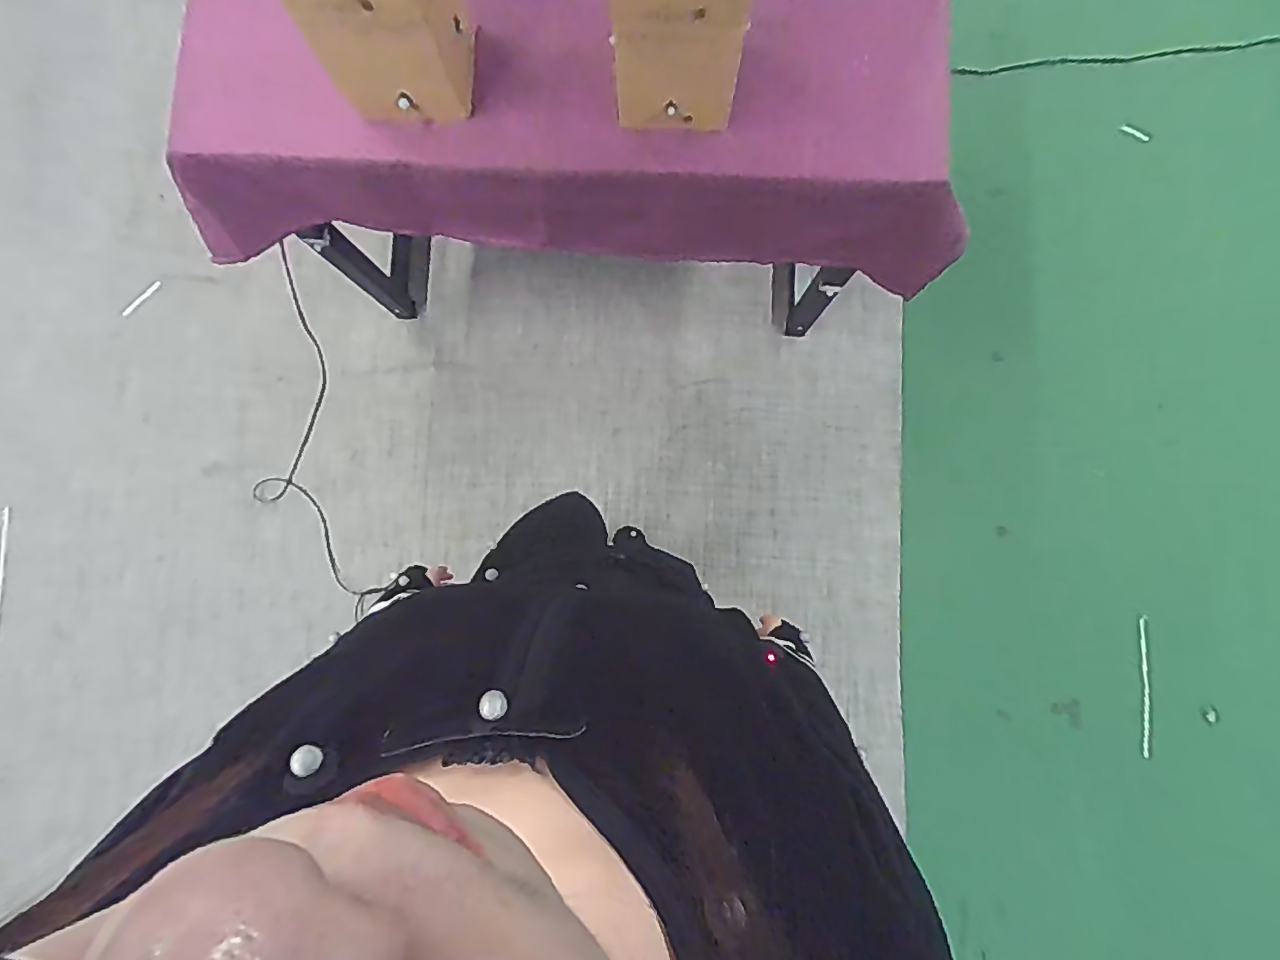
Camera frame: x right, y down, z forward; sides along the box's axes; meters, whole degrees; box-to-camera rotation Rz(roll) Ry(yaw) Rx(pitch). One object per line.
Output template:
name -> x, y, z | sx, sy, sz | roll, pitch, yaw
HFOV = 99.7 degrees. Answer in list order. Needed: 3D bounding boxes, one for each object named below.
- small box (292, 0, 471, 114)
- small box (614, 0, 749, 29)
small box -> -0.348, -0.653, 0.762 | 0.179, 0.176, 0.168 | 1, 85, 0
small box -> 0.053, -0.649, 0.596 | 0.168, 0.176, 0.179 | 3, 86, 0
